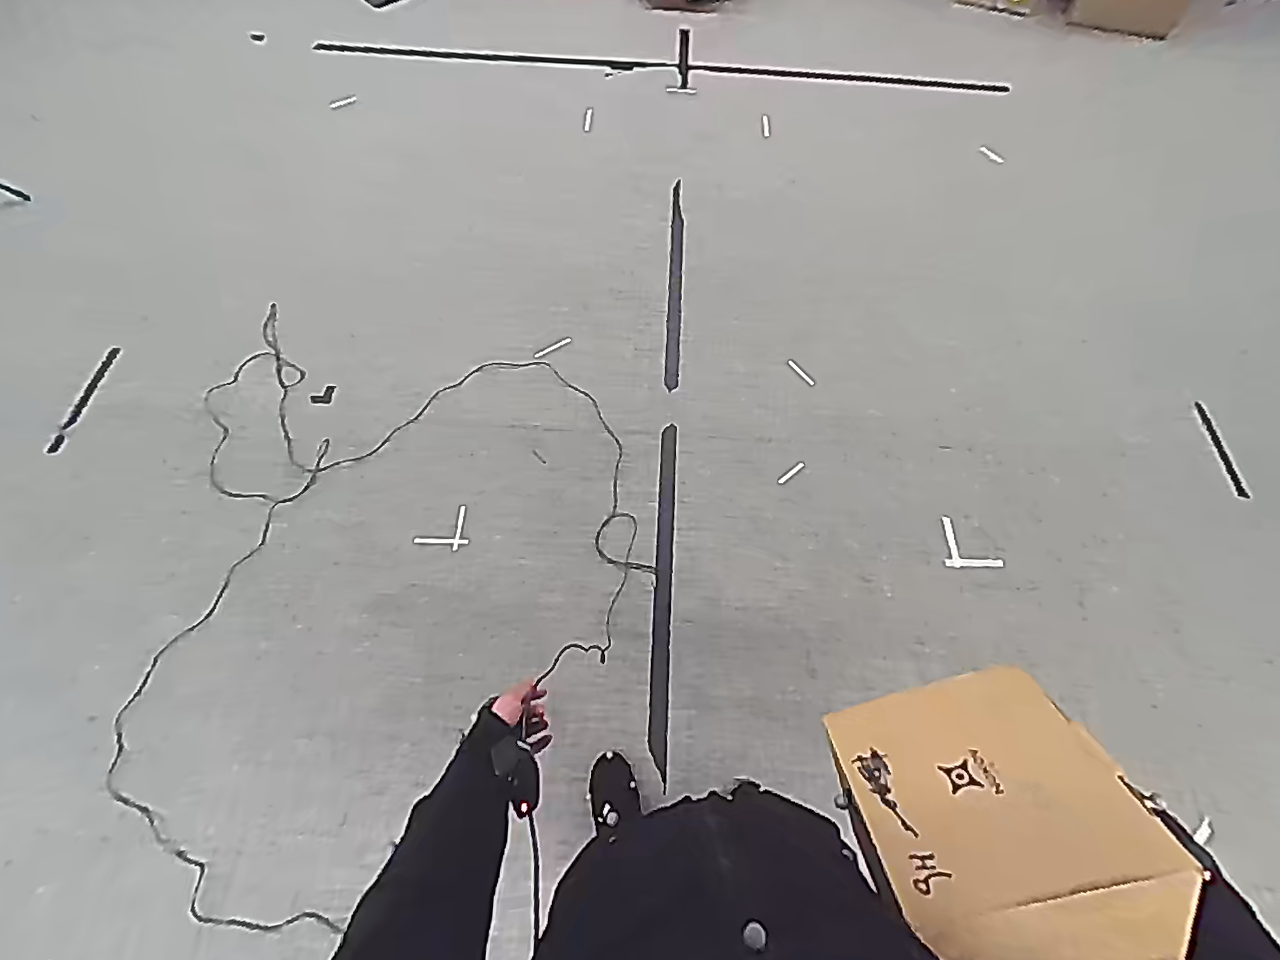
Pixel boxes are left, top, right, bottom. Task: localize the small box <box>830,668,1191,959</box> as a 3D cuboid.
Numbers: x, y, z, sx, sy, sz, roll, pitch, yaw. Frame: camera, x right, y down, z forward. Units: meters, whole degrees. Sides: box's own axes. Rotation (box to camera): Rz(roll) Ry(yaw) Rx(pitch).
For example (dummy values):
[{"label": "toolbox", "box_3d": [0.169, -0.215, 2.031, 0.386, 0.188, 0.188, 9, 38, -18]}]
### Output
[{"label": "small box", "box_3d": [0.280, 0.294, 0.447, 0.179, 0.176, 0.168, -18, 25, 6]}]
